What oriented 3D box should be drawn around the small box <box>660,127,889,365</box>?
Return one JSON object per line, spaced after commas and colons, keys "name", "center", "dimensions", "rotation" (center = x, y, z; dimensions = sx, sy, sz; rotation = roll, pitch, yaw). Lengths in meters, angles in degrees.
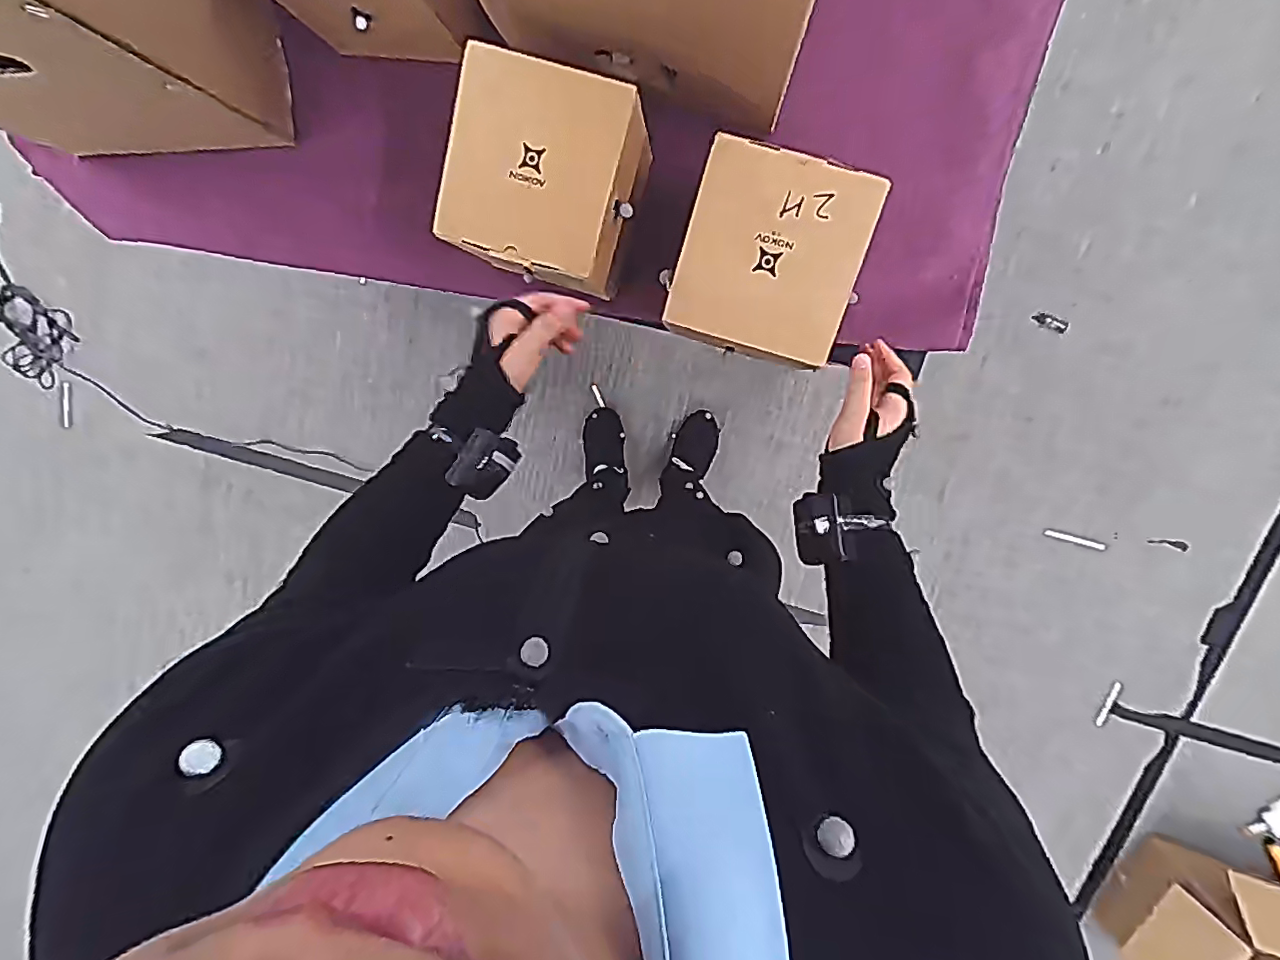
{"name": "small box", "center": [0.130, -0.228, 0.577], "dimensions": [0.168, 0.176, 0.179], "rotation": [18, 102, 3]}
